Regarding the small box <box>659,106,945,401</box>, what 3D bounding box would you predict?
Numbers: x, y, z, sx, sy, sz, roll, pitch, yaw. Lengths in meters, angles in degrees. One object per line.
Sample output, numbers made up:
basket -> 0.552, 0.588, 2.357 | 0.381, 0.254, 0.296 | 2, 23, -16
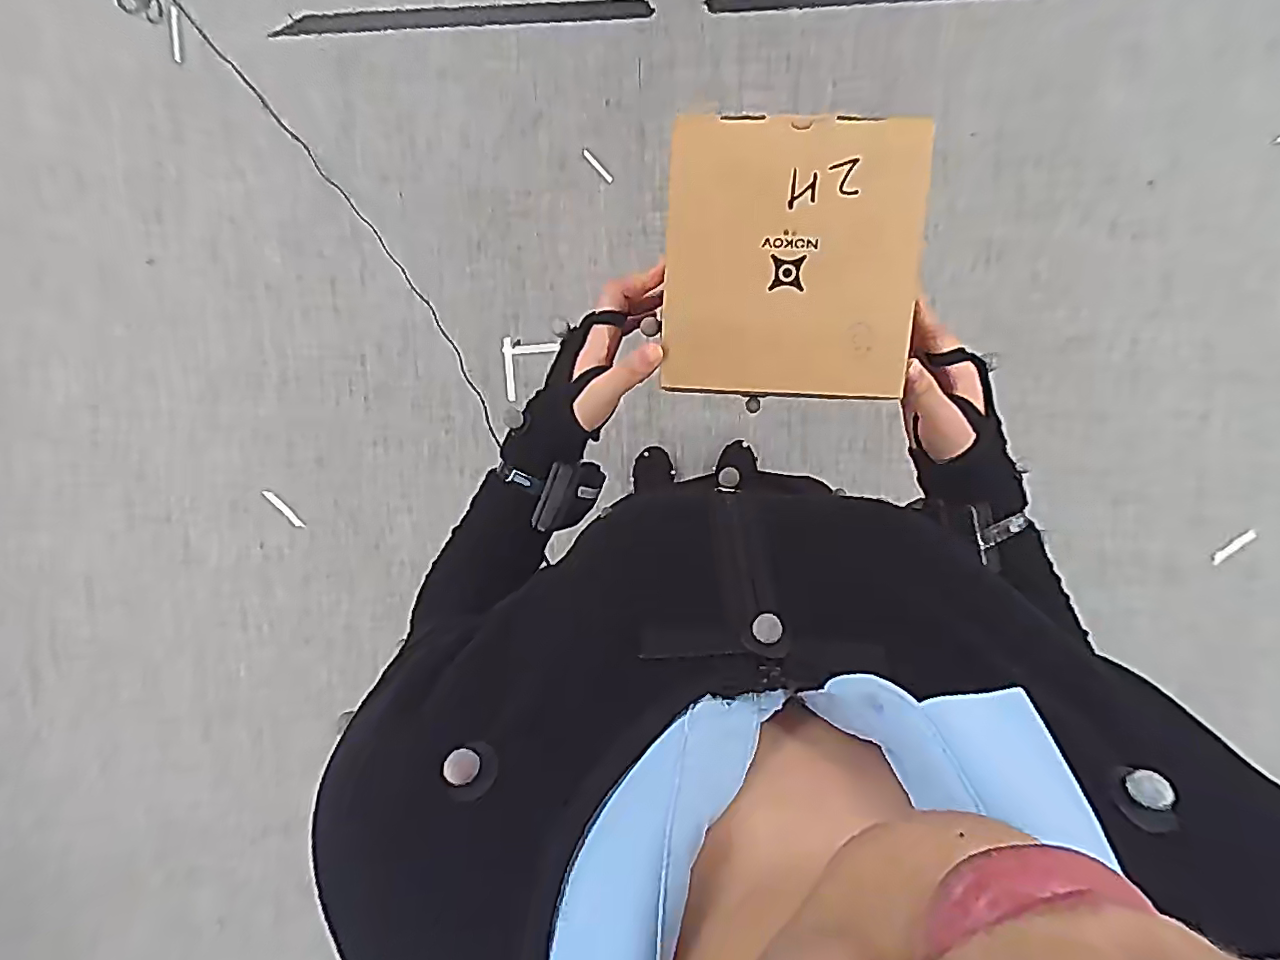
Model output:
small box -> 0.106, -0.155, 0.425 | 0.168, 0.176, 0.179 | 4, 98, 3
